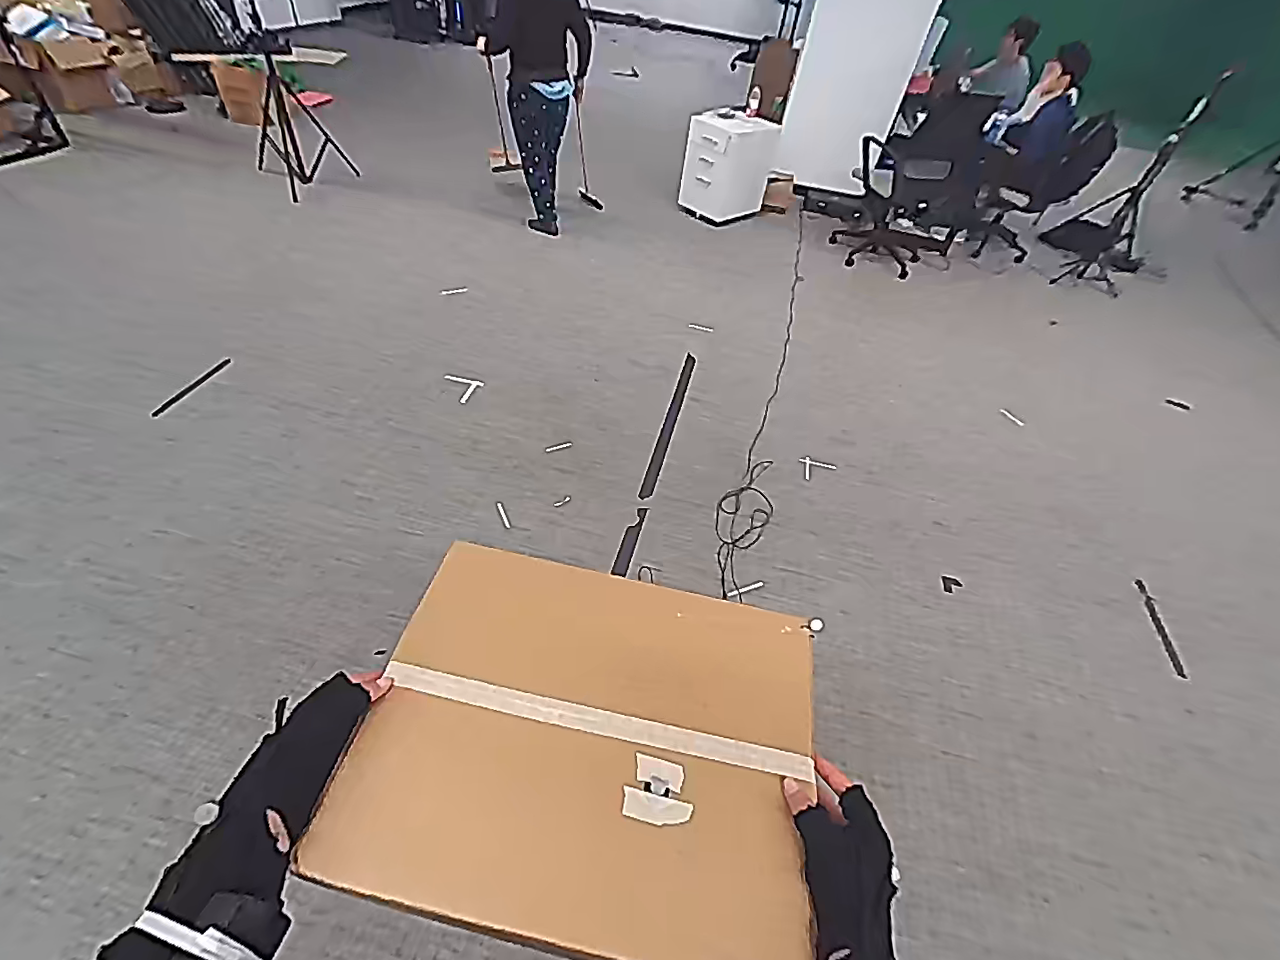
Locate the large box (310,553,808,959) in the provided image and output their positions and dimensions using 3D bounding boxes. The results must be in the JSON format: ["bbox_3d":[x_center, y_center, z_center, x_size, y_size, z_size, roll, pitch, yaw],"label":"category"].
[{"bbox_3d":[-0.058,0.329,0.623,0.408,0.320,0.320,12,49,3],"label":"large box"}]
